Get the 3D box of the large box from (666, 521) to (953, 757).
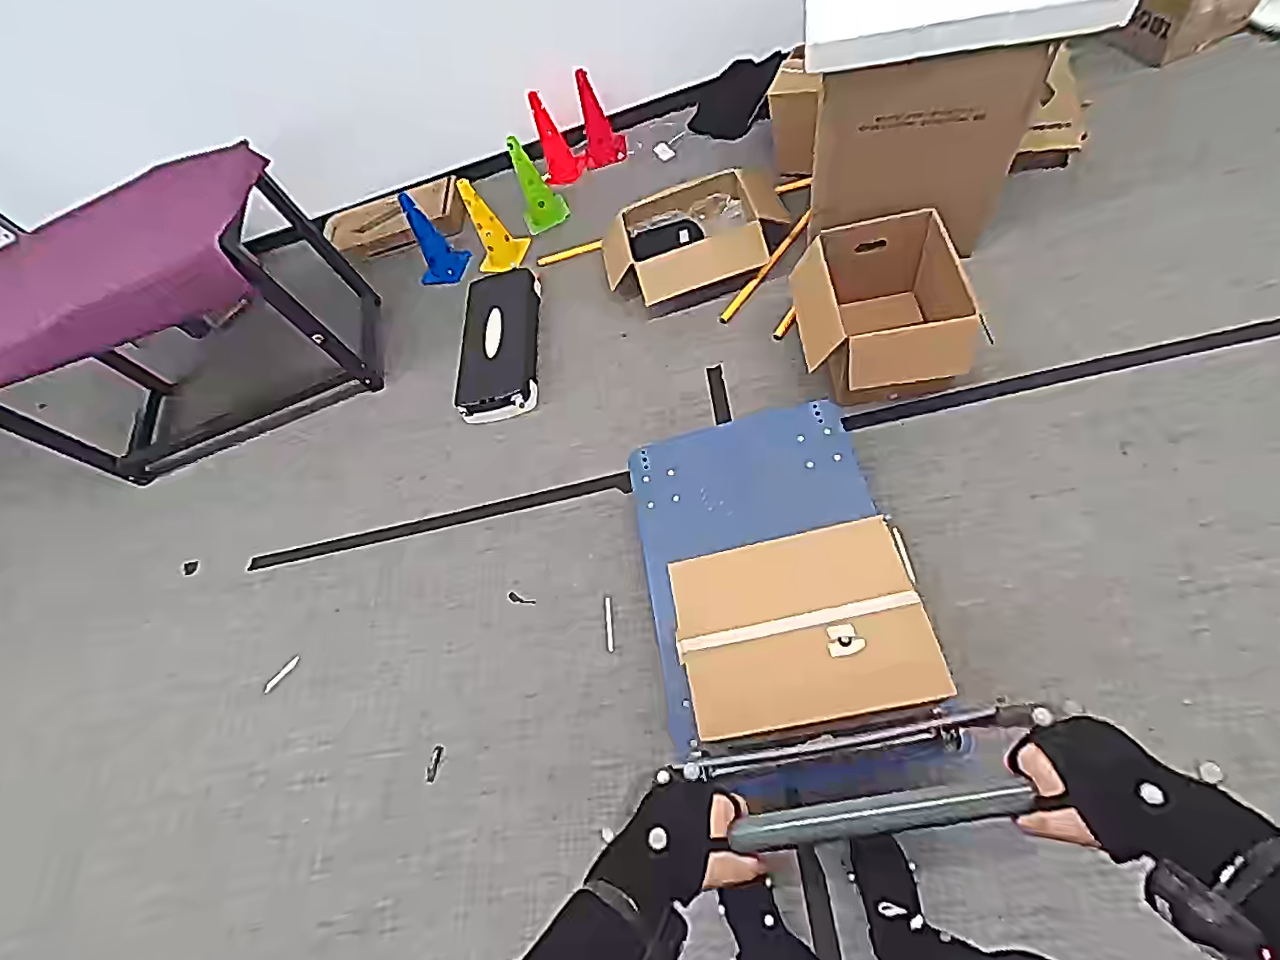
[{"bbox_3d":[0.295,0.322,1.039,0.408,0.320,0.320,-14,60,7],"label":"large box"}]
